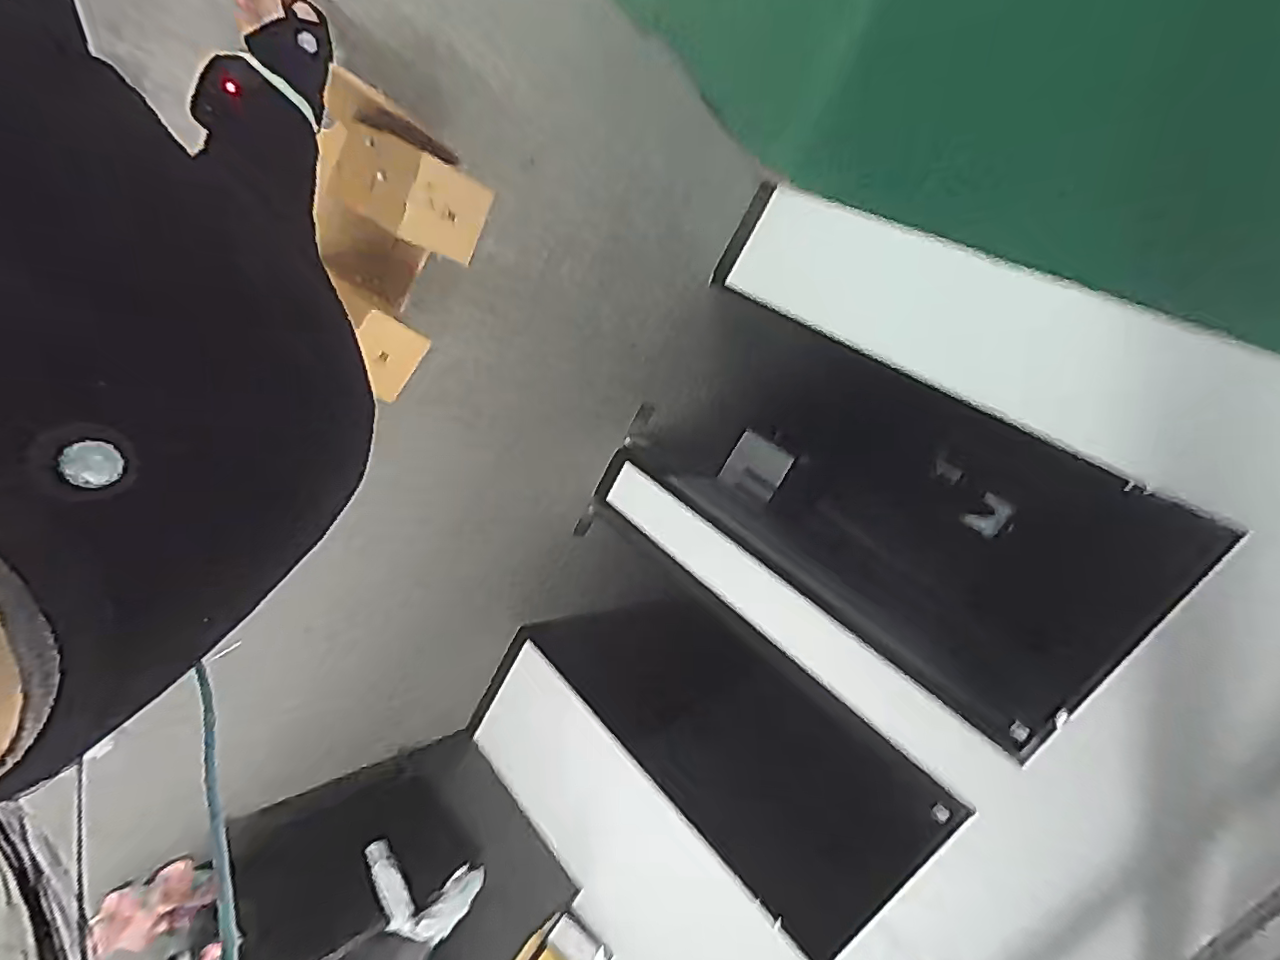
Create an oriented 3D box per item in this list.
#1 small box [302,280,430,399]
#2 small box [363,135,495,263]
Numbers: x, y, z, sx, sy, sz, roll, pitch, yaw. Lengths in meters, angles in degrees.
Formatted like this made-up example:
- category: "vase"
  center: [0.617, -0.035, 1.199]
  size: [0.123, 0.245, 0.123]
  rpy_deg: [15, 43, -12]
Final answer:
- category: "small box"
  center: [-0.627, -0.322, 1.232]
  size: [0.179, 0.176, 0.168]
  rpy_deg: [-53, 151, 4]
- category: "small box"
  center: [-0.451, -0.599, 1.154]
  size: [0.179, 0.176, 0.168]
  rpy_deg: [5, 119, -55]
